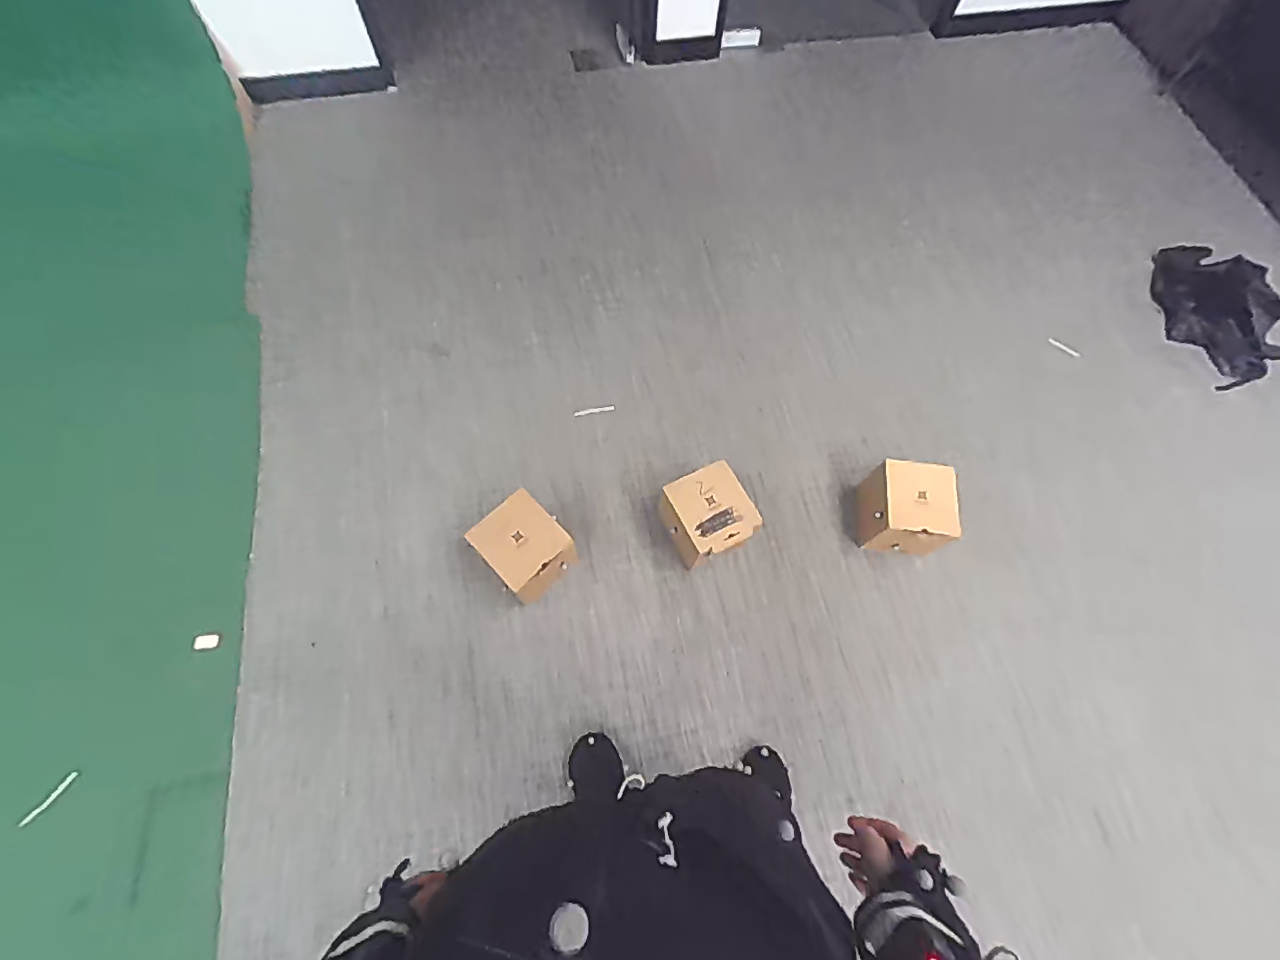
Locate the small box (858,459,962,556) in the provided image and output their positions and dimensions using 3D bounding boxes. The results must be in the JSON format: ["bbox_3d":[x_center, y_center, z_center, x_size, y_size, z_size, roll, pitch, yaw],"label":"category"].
[{"bbox_3d":[0.640,0.071,1.303,0.168,0.176,0.179,7,68,0],"label":"small box"}]

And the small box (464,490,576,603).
[{"bbox_3d":[-0.261,0.160,1.226,0.179,0.176,0.168,43,71,15],"label":"small box"}]
